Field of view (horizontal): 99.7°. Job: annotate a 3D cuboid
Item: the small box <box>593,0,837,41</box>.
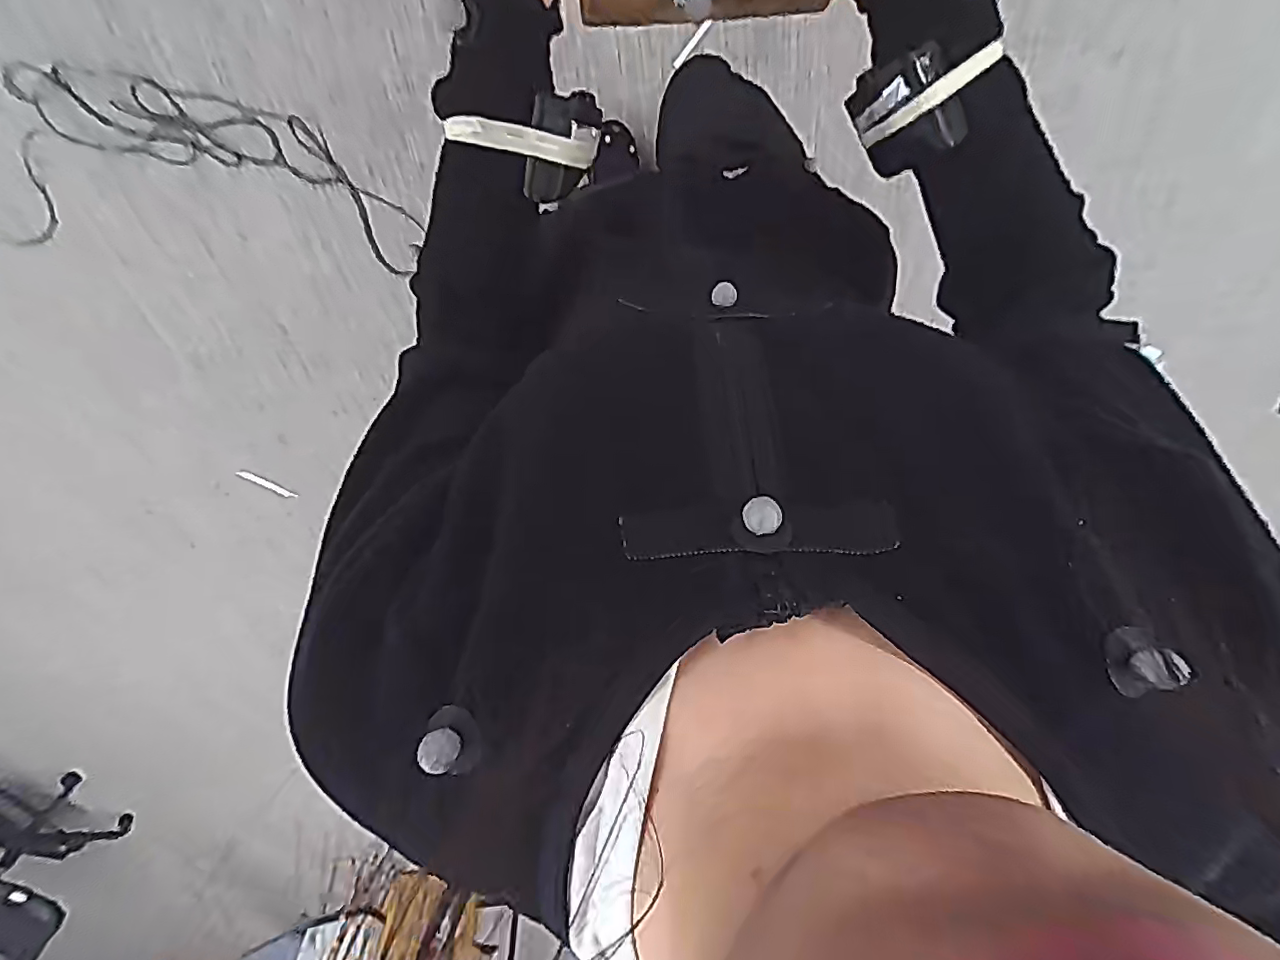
[{"bbox_3d":[0.047,-0.372,0.272,0.168,0.176,0.179,-7,102,-2],"label":"small box"}]
